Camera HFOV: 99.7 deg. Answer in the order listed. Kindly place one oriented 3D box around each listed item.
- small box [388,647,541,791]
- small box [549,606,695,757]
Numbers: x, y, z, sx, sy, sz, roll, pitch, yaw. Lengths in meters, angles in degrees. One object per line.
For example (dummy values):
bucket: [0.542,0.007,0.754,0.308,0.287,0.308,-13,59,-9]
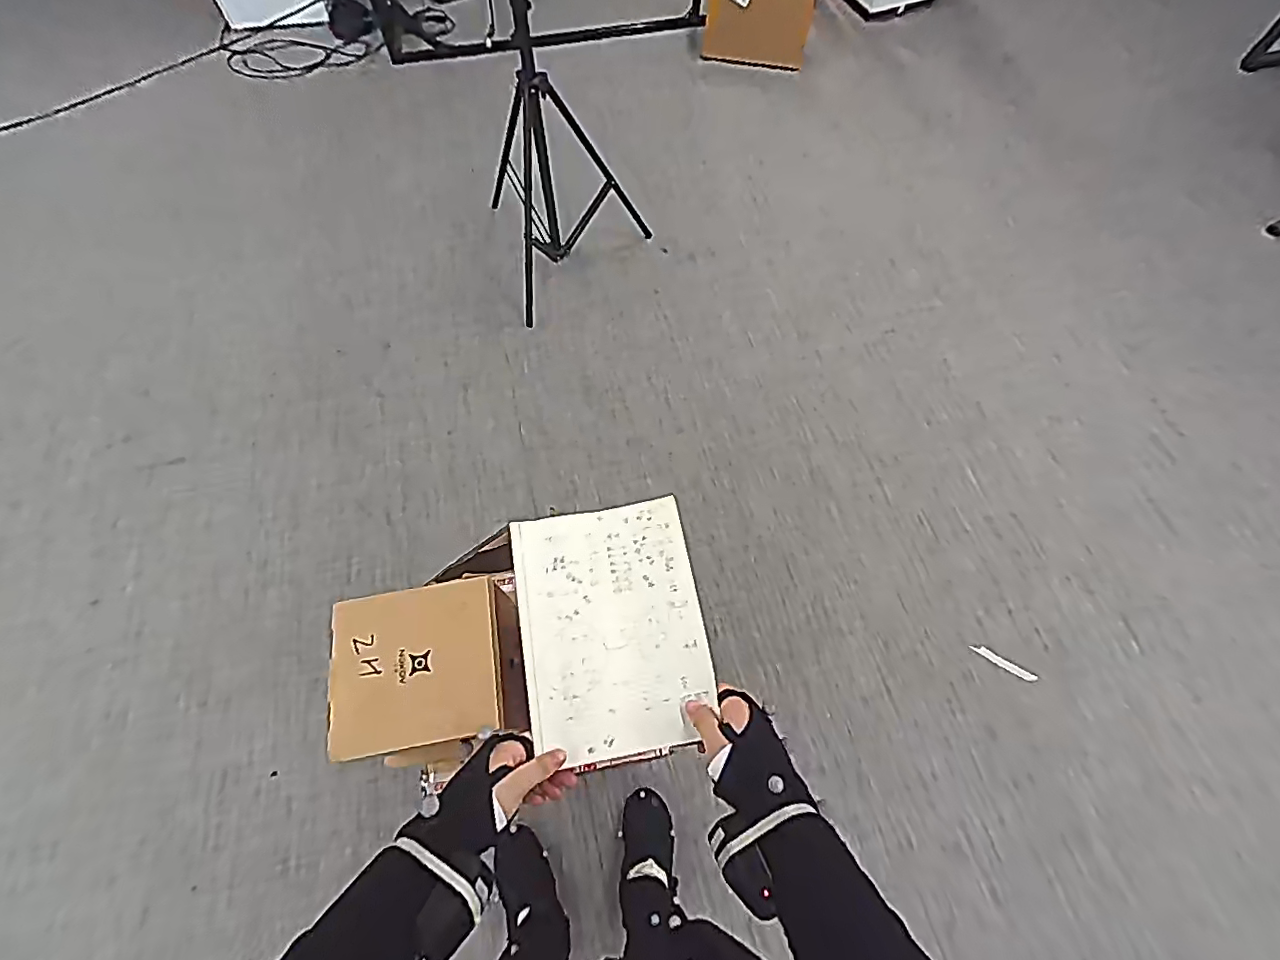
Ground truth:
small box: [-0.243,0.345,0.794,0.179,0.176,0.168,-6,67,-2]
small box: [-0.032,0.303,0.818,0.179,0.176,0.168,-13,67,-8]
